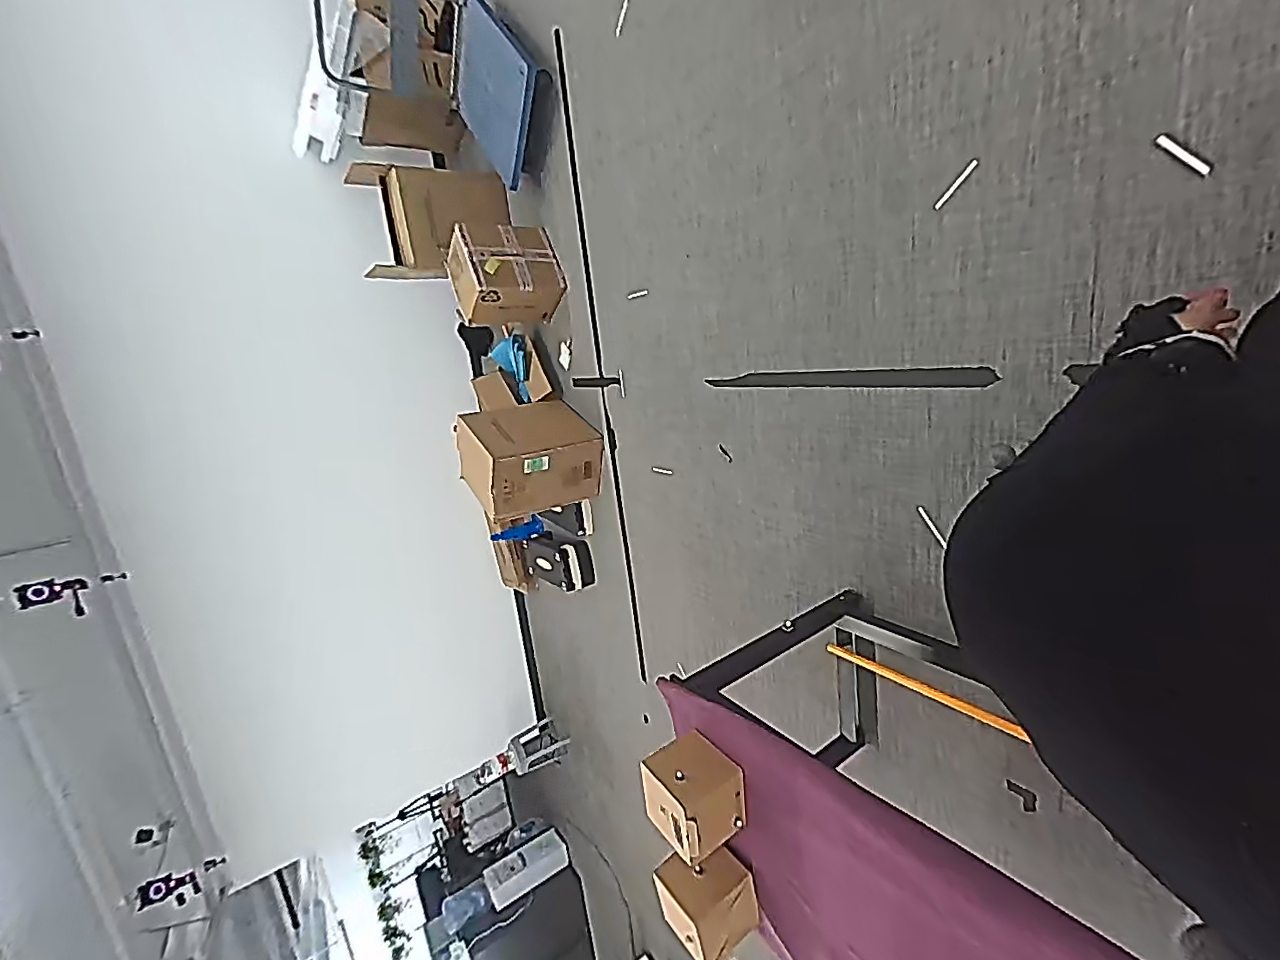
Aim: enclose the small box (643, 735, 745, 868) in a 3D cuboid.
[{"bbox_3d":[0.132,0.737,1.266,0.179,0.176,0.168,17,118,55],"label":"small box"}]
